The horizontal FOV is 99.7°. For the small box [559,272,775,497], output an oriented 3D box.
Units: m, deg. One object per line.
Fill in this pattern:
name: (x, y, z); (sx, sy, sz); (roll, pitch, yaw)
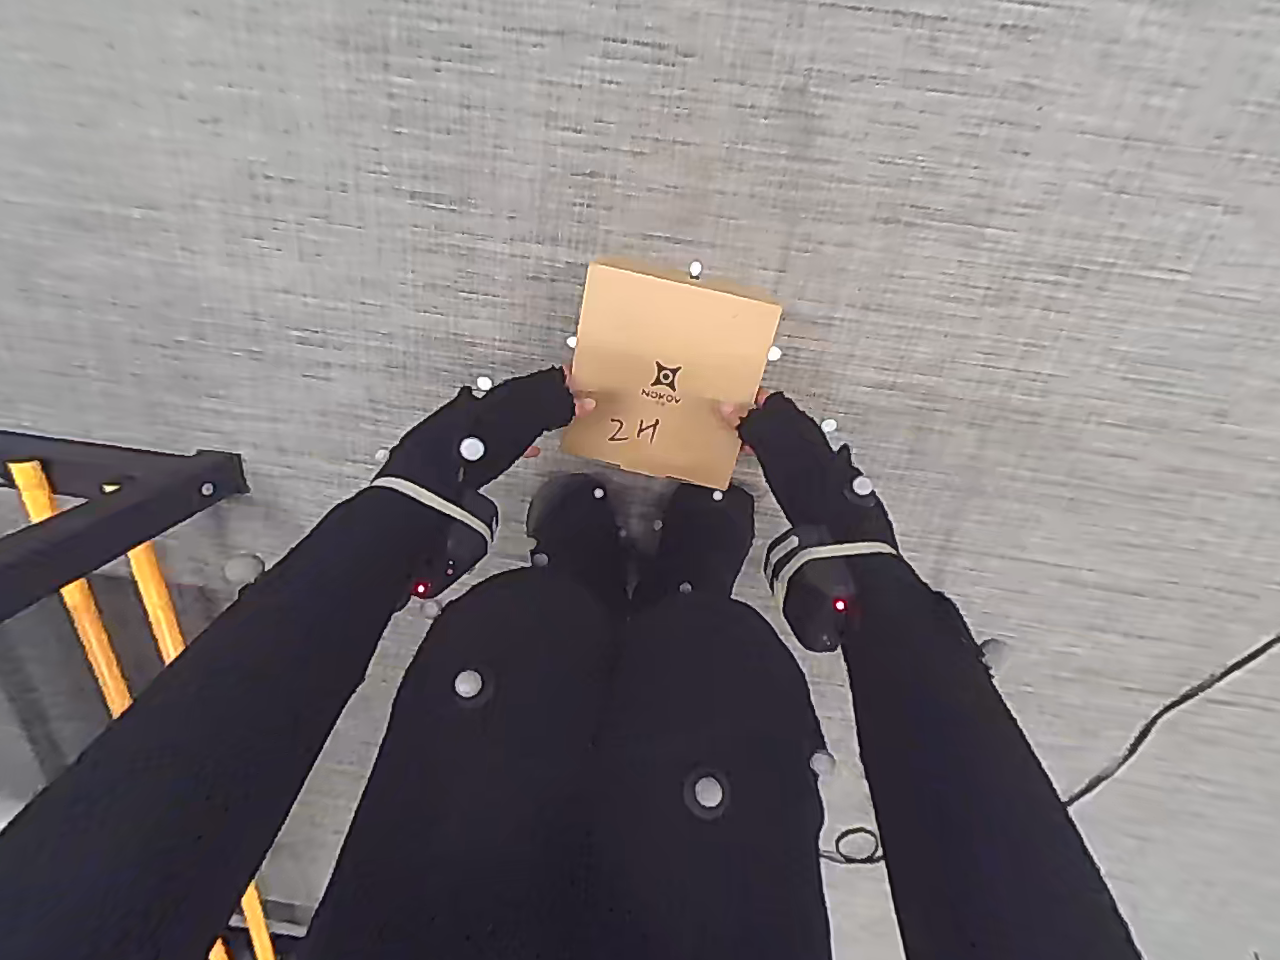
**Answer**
small box: (0.025, -0.109, 0.560); (0.168, 0.176, 0.179); (13, 114, 1)
